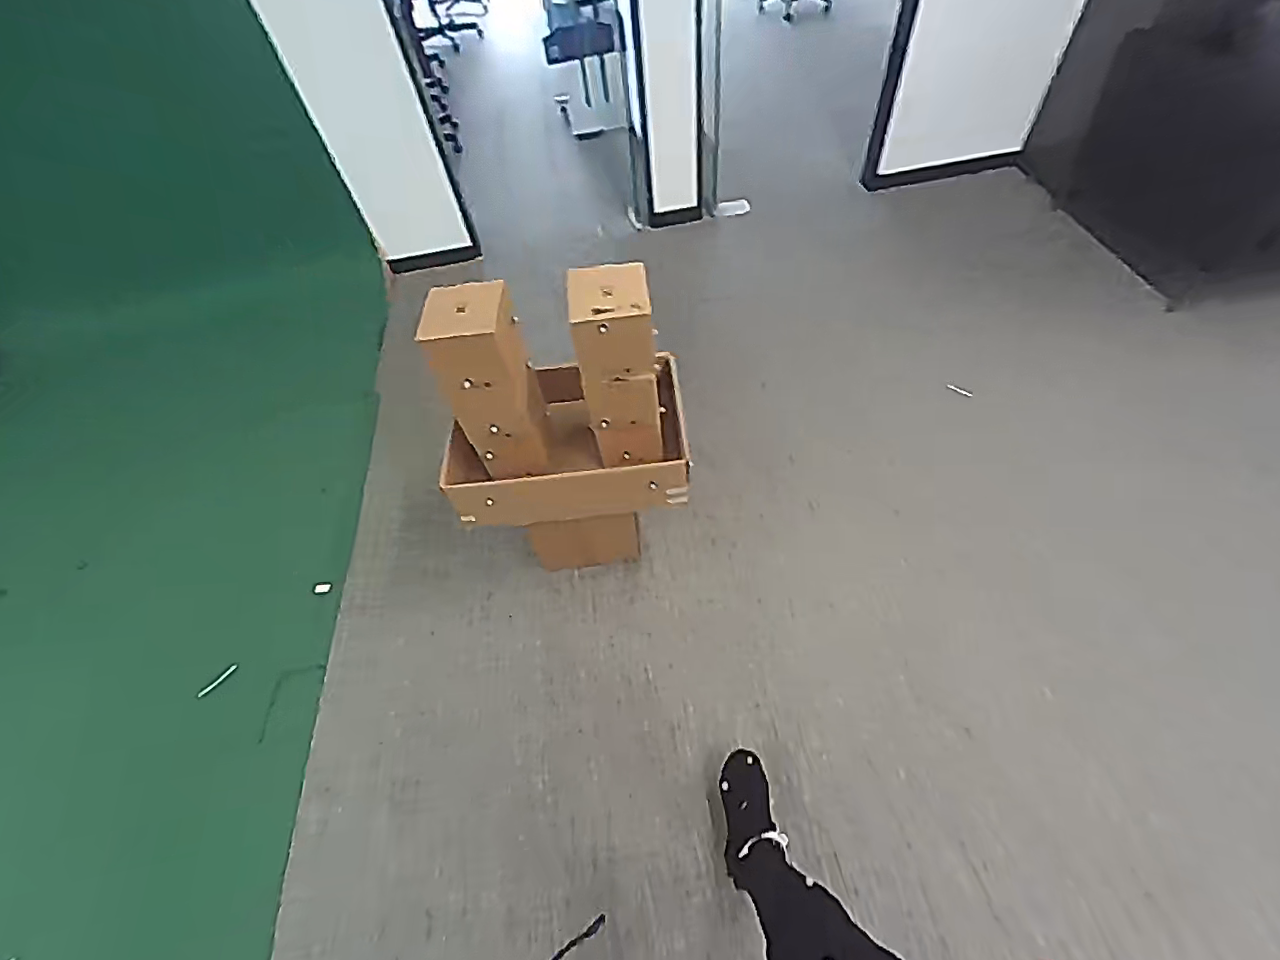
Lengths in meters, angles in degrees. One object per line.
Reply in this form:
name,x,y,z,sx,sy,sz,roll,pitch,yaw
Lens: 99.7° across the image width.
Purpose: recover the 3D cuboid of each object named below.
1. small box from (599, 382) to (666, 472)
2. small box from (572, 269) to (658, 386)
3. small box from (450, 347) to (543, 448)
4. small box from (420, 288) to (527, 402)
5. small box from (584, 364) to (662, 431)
small box,-0.019,-0.143,1.449,0.168,0.176,0.179,-6,55,2
small box,-0.054,-0.331,1.182,0.168,0.176,0.179,-7,54,2
small box,-0.340,-0.201,1.326,0.168,0.176,0.179,-5,54,5
small box,-0.356,-0.295,1.194,0.168,0.176,0.179,-5,54,4
small box,-0.037,-0.232,1.311,0.168,0.176,0.179,-5,54,3
